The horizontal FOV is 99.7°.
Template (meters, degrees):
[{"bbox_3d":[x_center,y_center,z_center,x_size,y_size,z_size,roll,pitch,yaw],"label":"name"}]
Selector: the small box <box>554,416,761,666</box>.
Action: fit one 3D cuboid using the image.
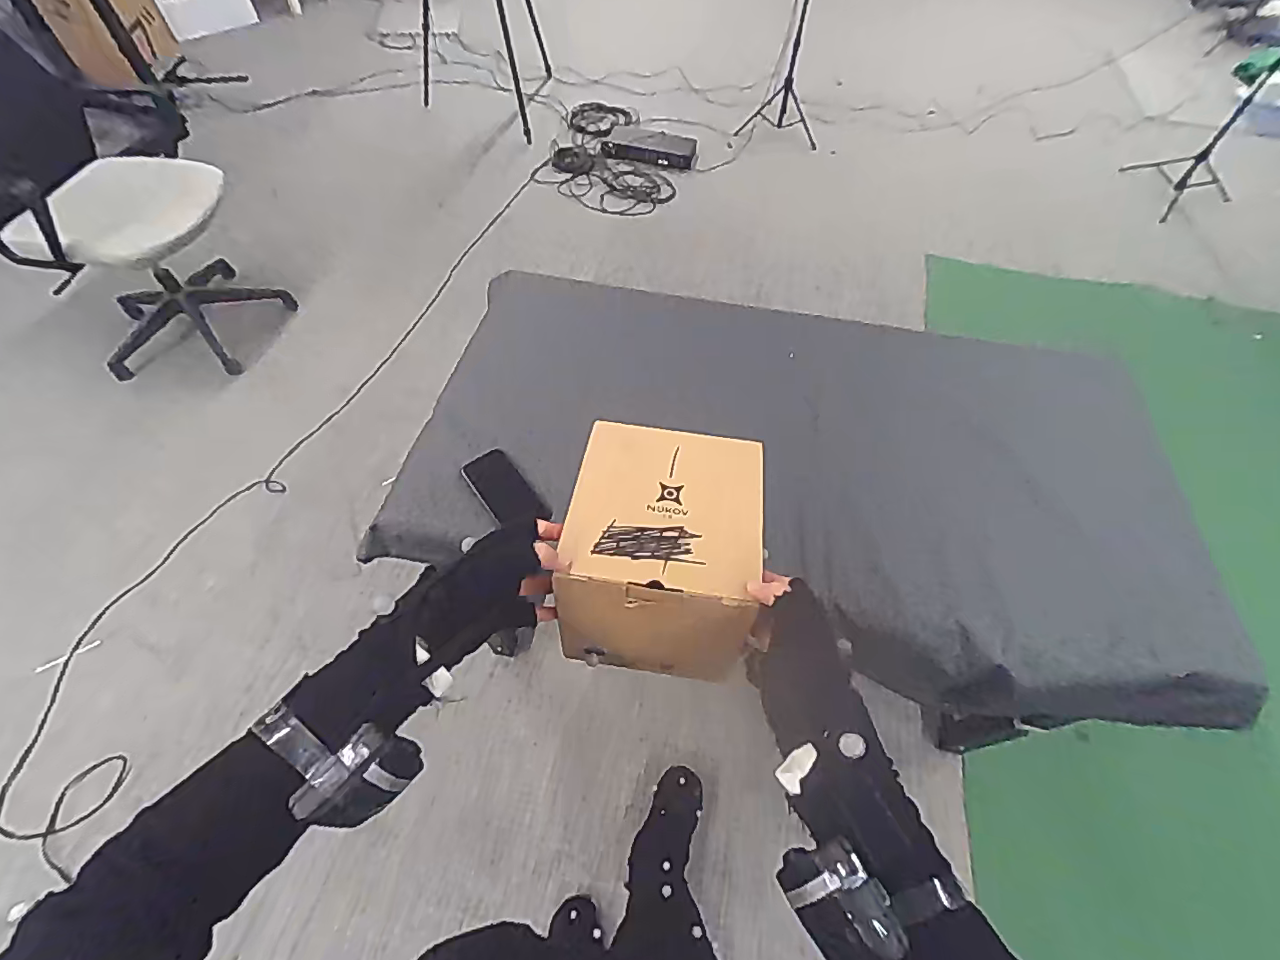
[{"bbox_3d":[0.021,0.064,0.535,0.168,0.176,0.179,8,50,3],"label":"small box"}]
